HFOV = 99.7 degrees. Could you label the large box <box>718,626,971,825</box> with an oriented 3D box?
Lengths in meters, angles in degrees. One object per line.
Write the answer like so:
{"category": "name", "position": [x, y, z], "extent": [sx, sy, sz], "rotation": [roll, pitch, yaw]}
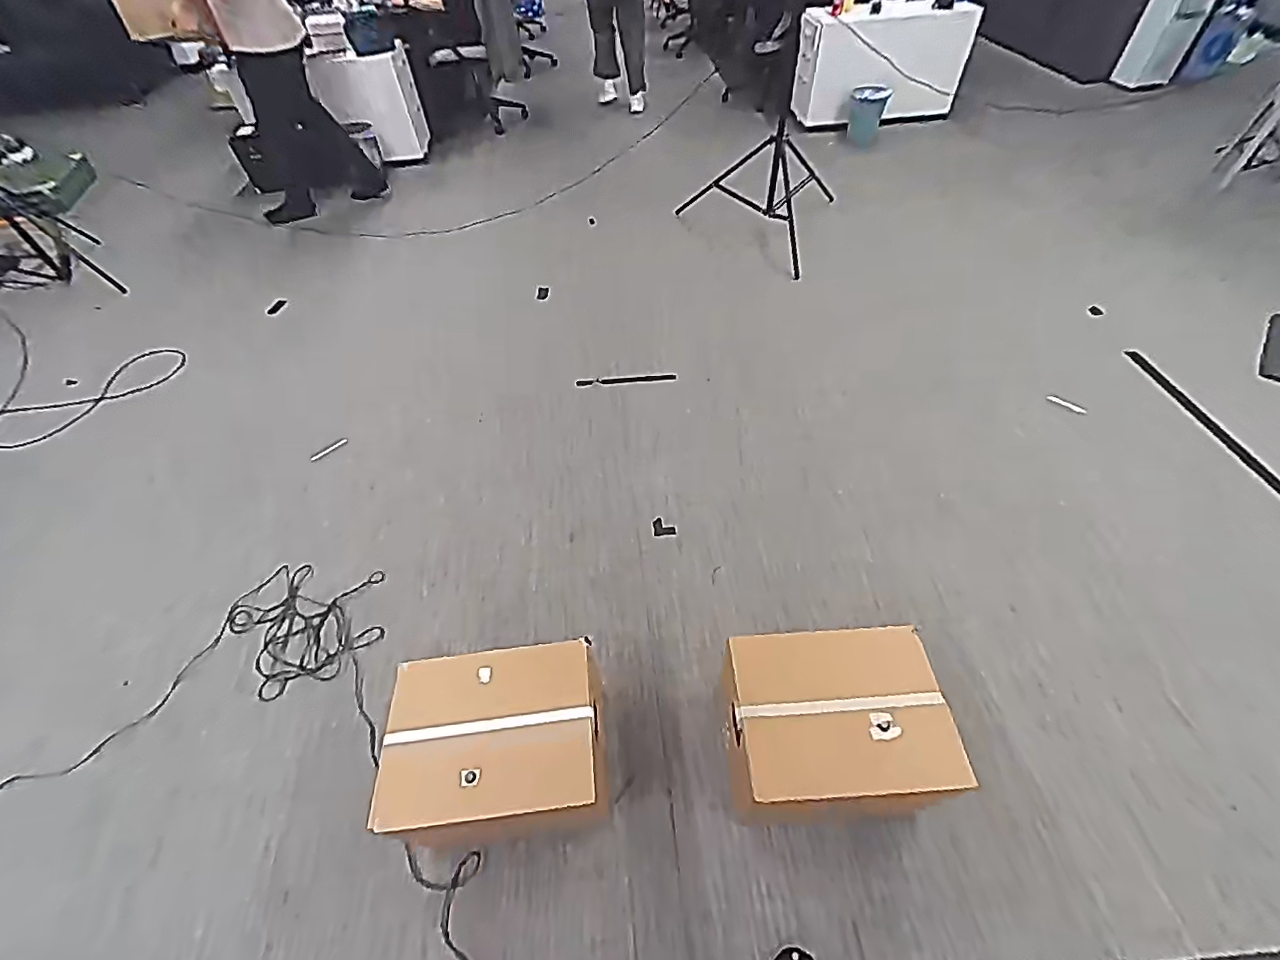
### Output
{"category": "large box", "position": [0.403, 0.542, 1.189], "extent": [0.408, 0.320, 0.320], "rotation": [-3, 51, 0]}
